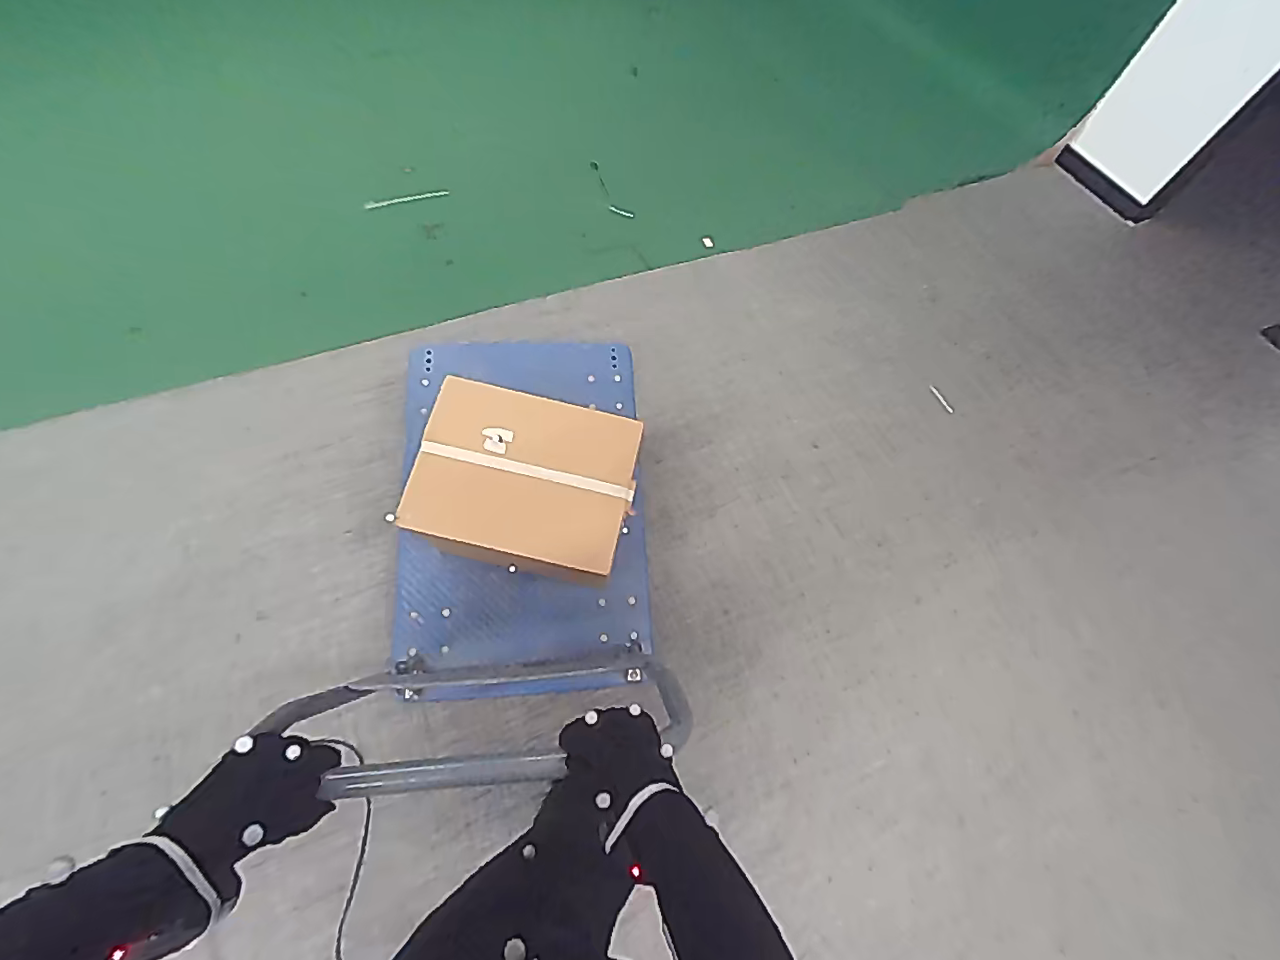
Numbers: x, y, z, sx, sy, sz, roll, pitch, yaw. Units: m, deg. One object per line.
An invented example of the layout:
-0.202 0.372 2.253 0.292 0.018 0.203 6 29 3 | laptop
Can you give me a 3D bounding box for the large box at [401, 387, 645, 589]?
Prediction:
-0.219 0.038 1.165 0.408 0.320 0.320 13 72 0 | large box
